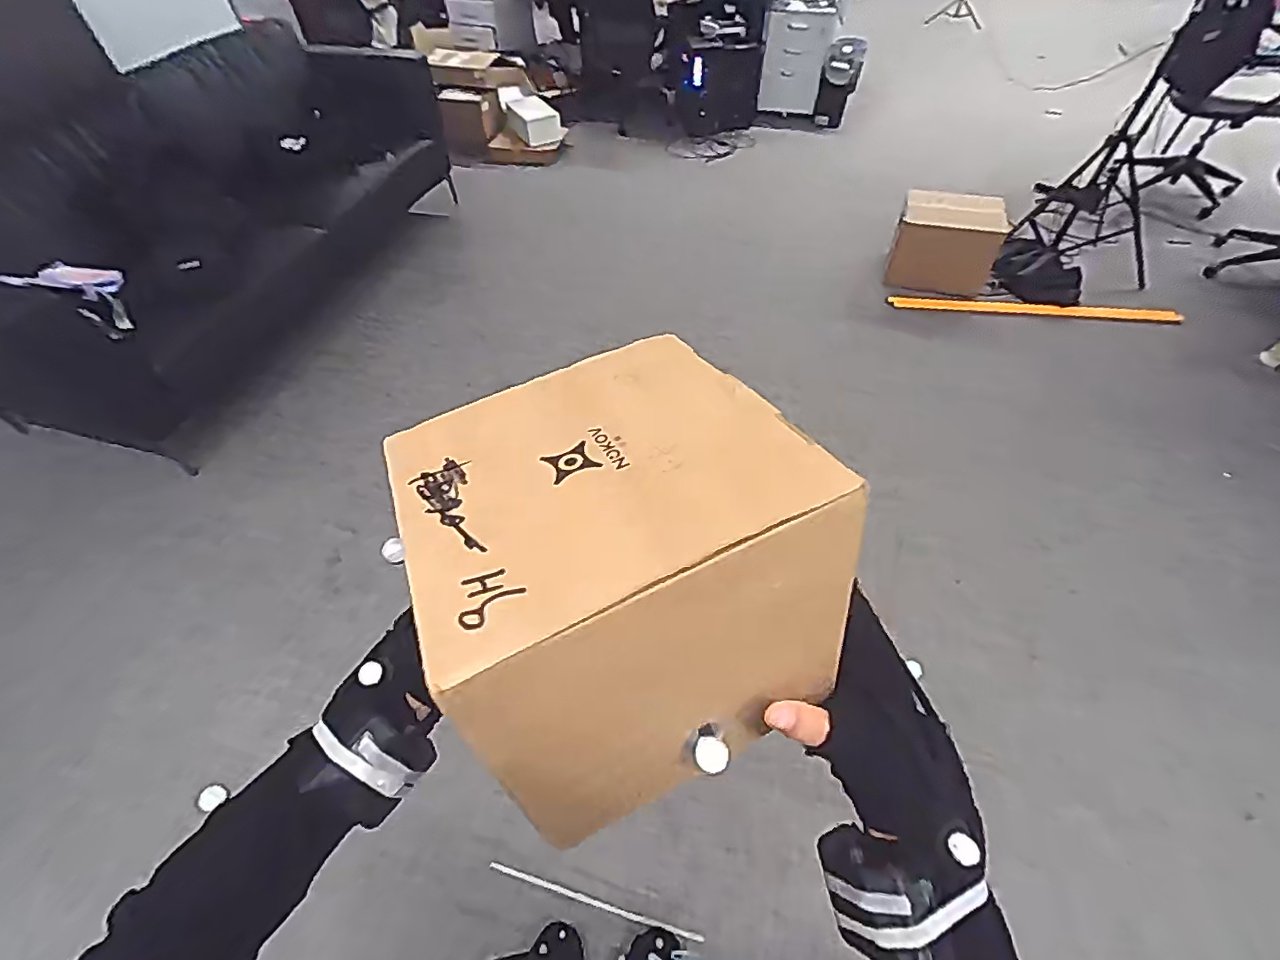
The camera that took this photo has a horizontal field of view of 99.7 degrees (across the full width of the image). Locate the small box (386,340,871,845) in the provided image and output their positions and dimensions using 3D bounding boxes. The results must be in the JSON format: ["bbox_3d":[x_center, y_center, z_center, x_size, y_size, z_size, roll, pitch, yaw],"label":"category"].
[{"bbox_3d":[-0.011,0.052,0.296,0.179,0.176,0.168,-23,41,-15],"label":"small box"}]
